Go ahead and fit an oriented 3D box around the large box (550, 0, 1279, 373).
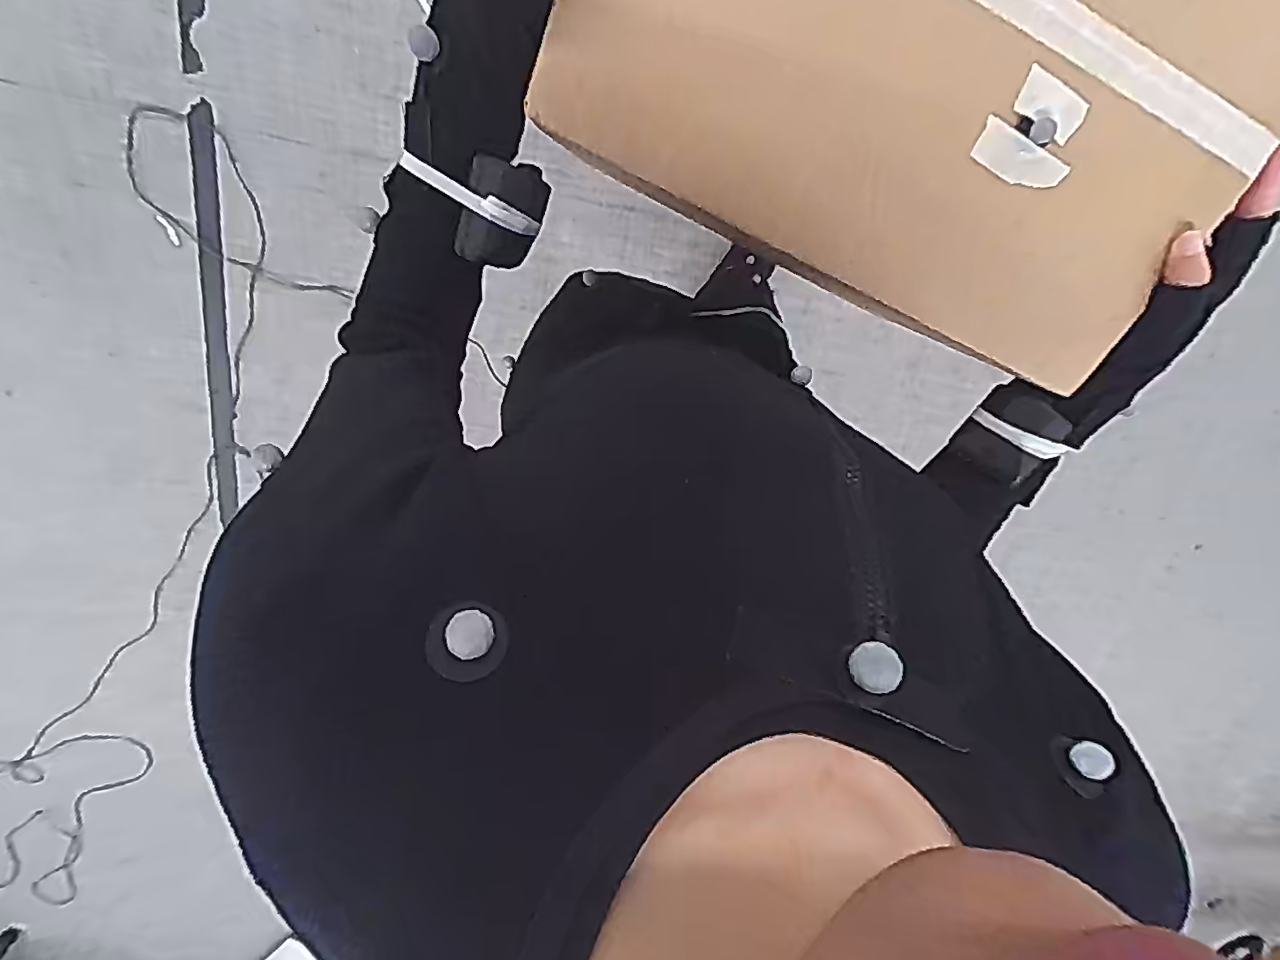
[{"bbox_3d":[0.181,-0.336,0.429,0.408,0.320,0.320,22,115,-12],"label":"large box"}]
